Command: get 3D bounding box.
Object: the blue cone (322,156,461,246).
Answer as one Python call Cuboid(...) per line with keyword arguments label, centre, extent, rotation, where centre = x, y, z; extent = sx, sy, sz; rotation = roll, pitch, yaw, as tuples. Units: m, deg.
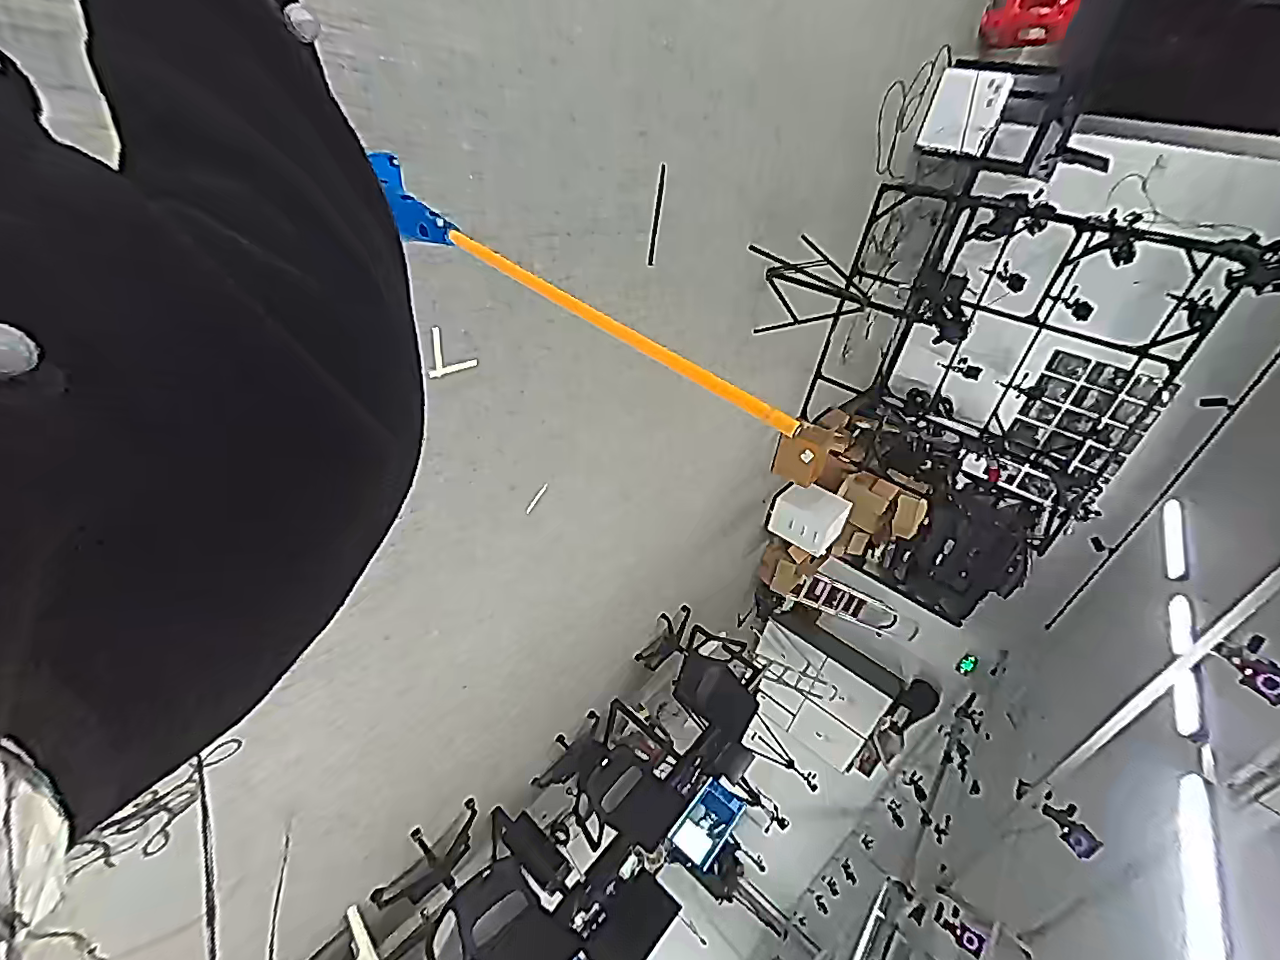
Cuboid(label="blue cone", centre=(-0.531, -0.602, 1.230), extent=(0.193, 0.380, 0.192), rotation=(-32, 140, -41))
